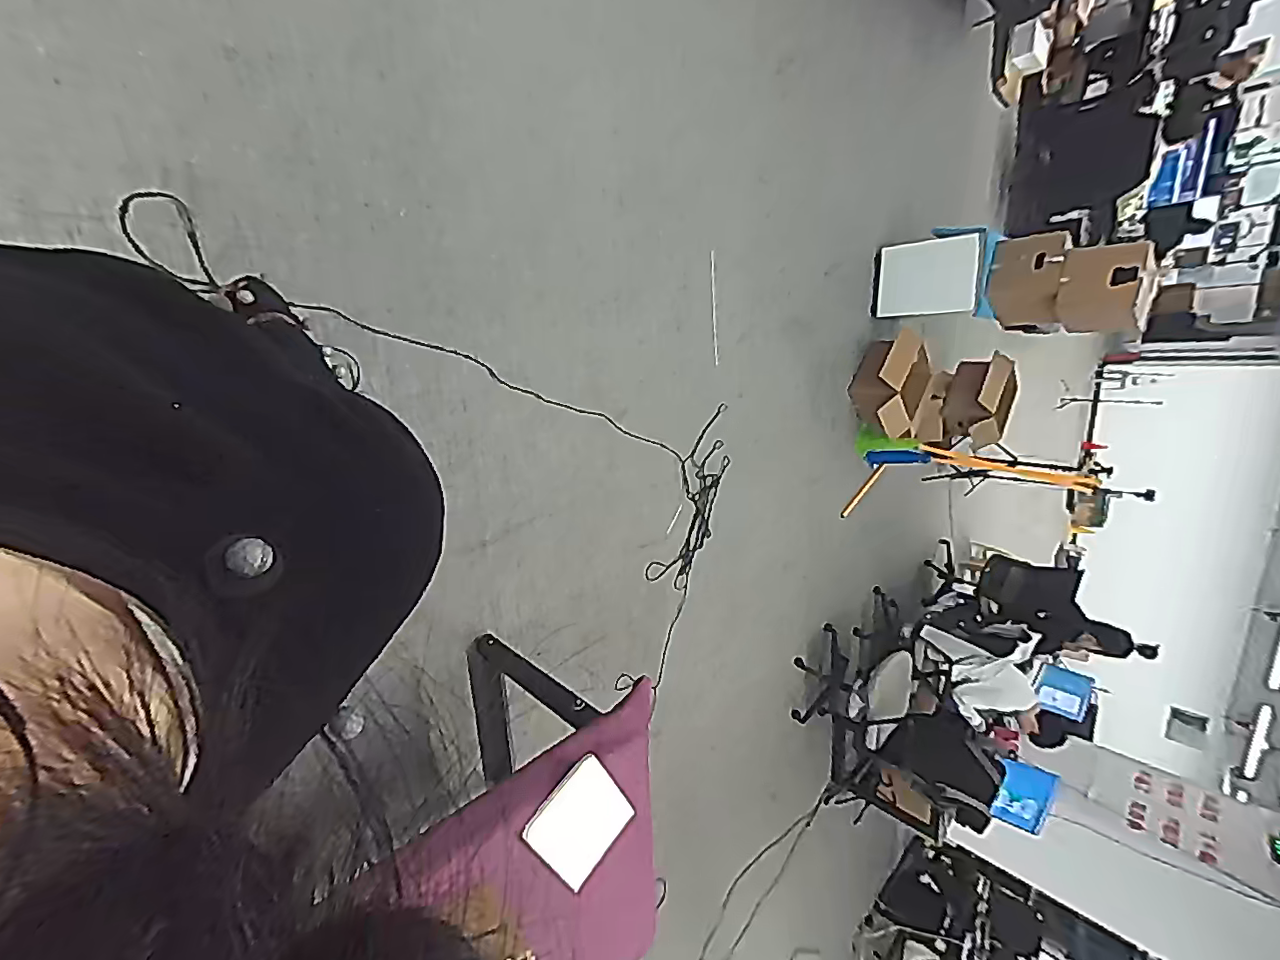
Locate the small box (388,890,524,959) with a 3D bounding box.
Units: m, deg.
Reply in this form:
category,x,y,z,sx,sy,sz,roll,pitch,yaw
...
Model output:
category,x,y,z,sx,sy,sz,roll,pitch,yaw
small box,-0.307,0.848,0.914,0.168,0.176,0.179,-14,108,-41
